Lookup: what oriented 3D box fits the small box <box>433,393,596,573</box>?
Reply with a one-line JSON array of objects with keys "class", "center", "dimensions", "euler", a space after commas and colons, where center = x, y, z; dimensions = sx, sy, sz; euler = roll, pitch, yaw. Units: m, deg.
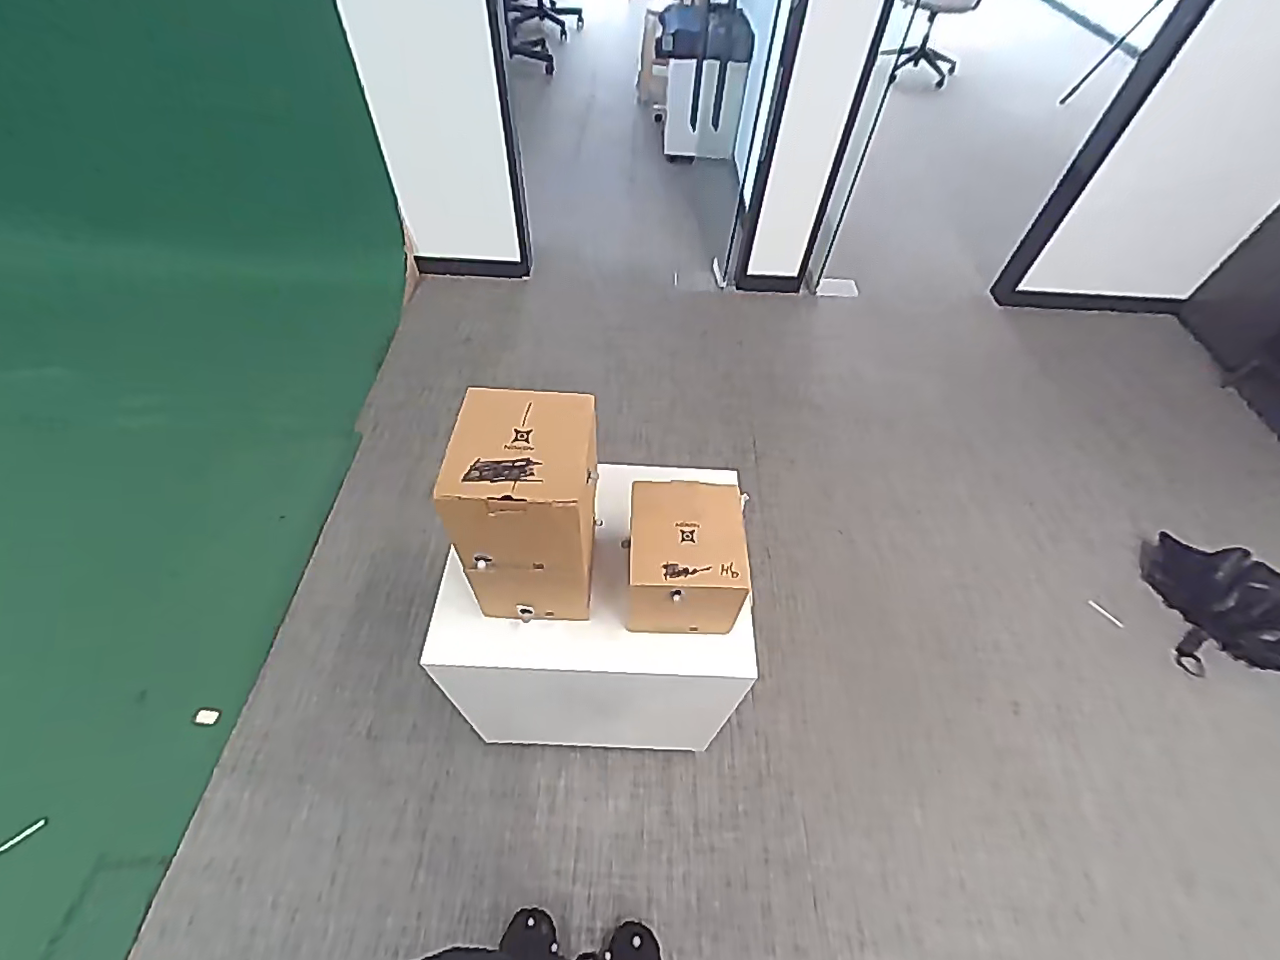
[{"class": "small box", "center": [-0.150, 0.009, 0.717], "dimensions": [0.168, 0.176, 0.179], "euler": [4, 51, 0]}]

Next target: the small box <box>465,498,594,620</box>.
[{"class": "small box", "center": [-0.157, 0.100, 0.834], "dimensions": [0.168, 0.176, 0.179], "euler": [1, 54, -2]}]

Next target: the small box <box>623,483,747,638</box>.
[{"class": "small box", "center": [0.061, 0.127, 0.842], "dimensions": [0.168, 0.176, 0.179], "euler": [3, 52, -2]}]
